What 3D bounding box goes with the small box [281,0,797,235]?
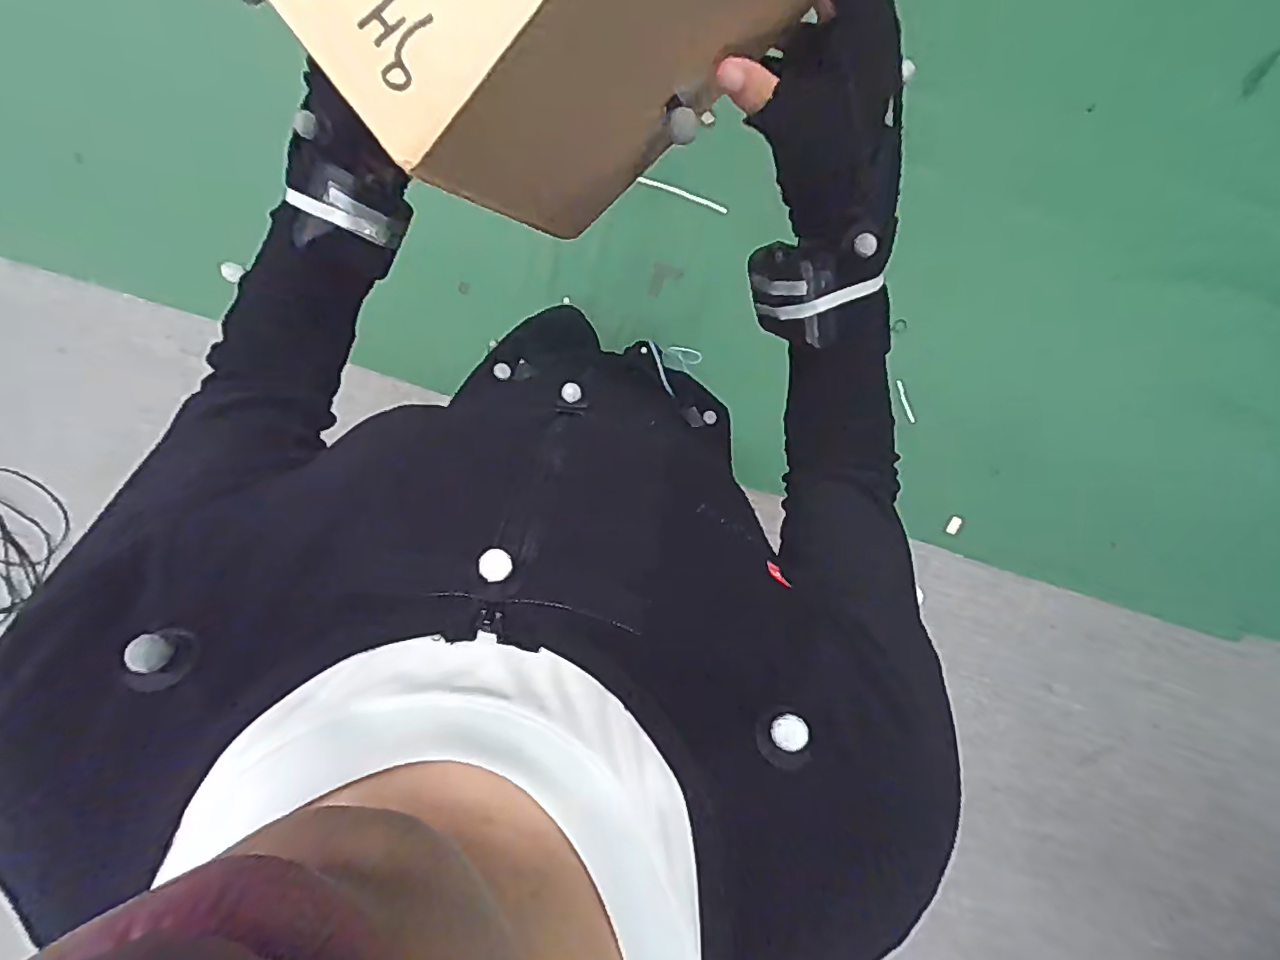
[{"bbox_3d":[-0.041,-0.233,0.219,0.179,0.176,0.168,-36,95,19],"label":"small box"}]
